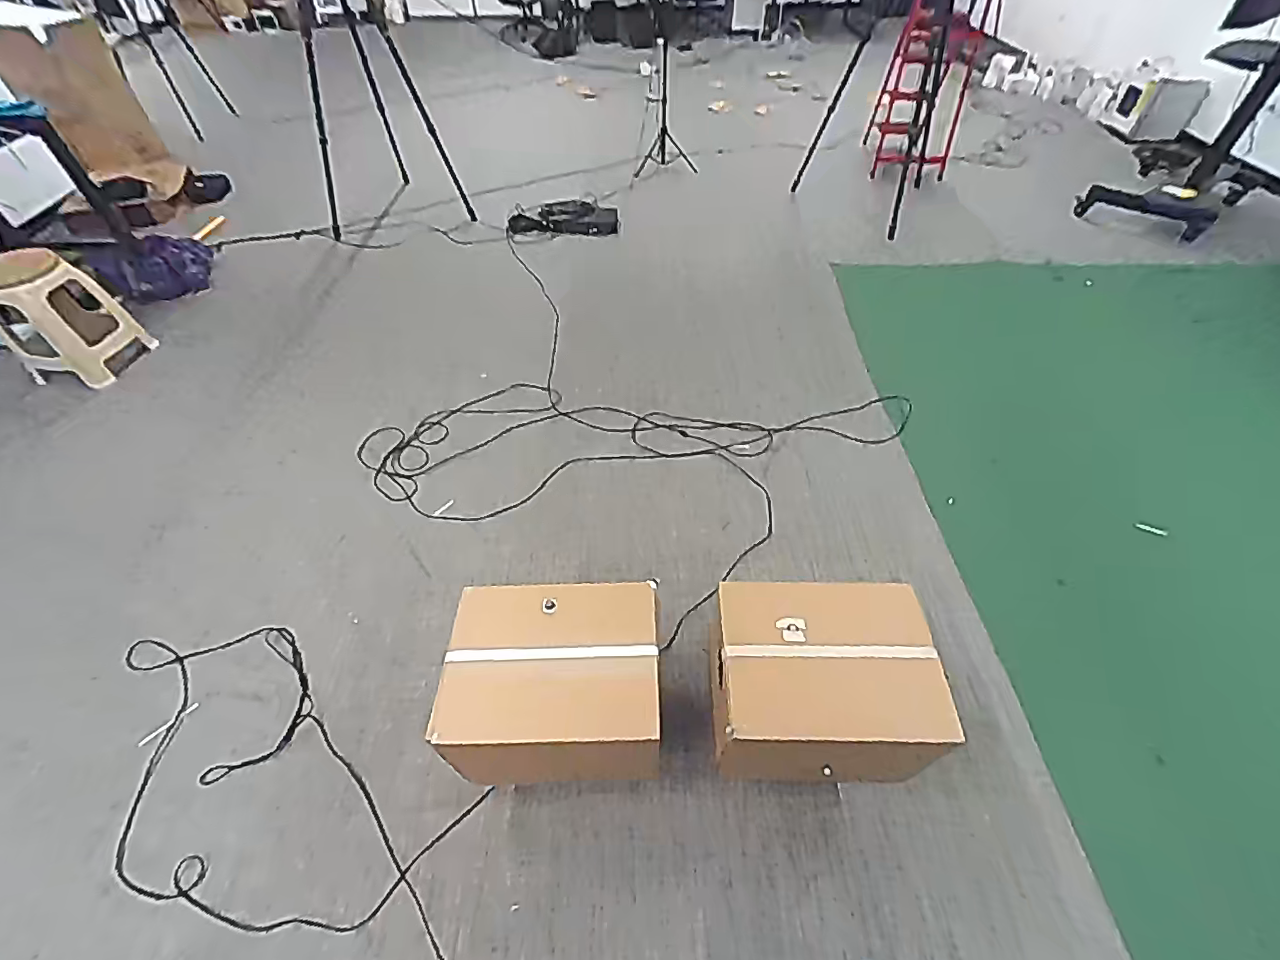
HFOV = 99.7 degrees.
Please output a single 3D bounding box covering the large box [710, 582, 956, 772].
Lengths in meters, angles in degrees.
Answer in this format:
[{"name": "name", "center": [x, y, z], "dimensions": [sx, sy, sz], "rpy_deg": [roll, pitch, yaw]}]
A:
[{"name": "large box", "center": [0.369, 0.429, 1.164], "dimensions": [0.408, 0.320, 0.320], "rpy_deg": [0, 49, 2]}]
